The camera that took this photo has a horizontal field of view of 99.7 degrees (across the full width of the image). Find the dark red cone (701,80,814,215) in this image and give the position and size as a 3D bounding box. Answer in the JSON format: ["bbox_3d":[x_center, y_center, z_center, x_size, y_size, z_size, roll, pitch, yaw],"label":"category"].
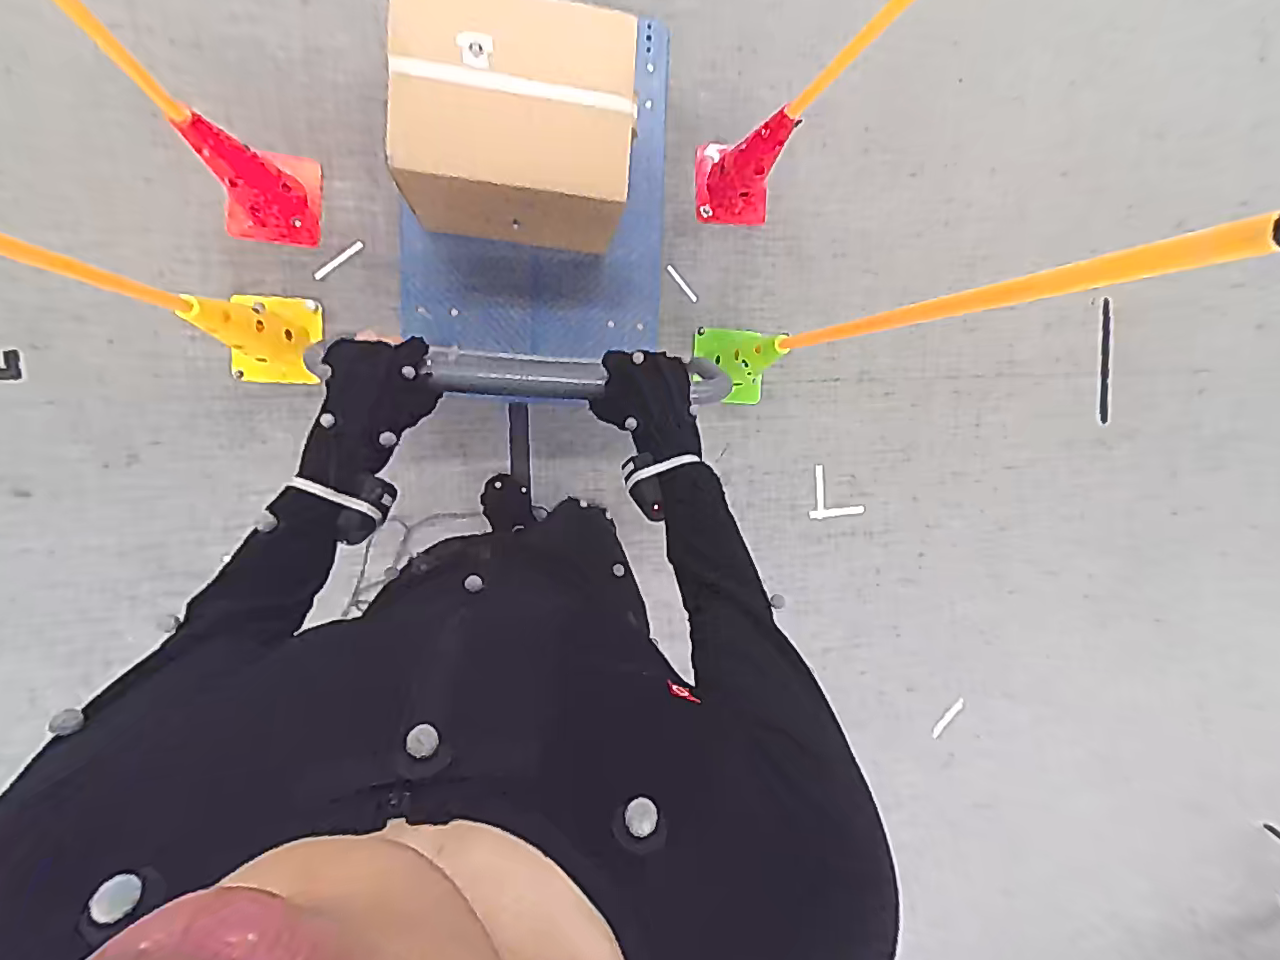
[{"bbox_3d":[0.293,-0.794,1.273,0.201,0.394,0.202,-3,96,-11],"label":"dark red cone"}]

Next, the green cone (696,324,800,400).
[{"bbox_3d":[0.286,-0.312,1.330,0.202,0.368,0.200,1,95,-11],"label":"green cone"}]

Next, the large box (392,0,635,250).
[{"bbox_3d":[-0.233,-0.671,1.065,0.408,0.320,0.320,3,95,-10],"label":"large box"}]

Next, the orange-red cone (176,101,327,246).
[{"bbox_3d":[-0.821,-0.655,1.111,0.198,0.360,0.199,5,93,-11],"label":"orange-red cone"}]
